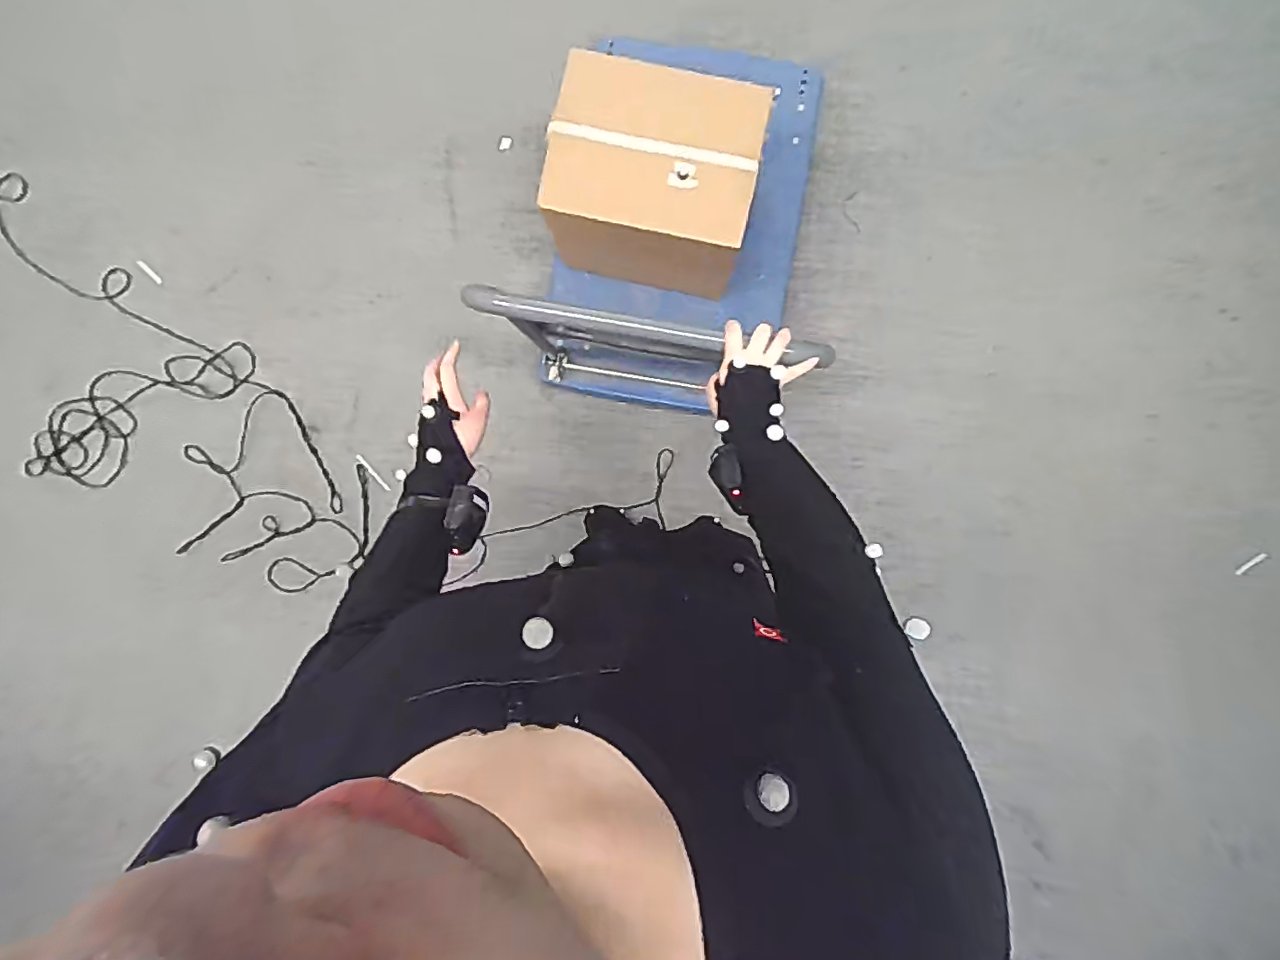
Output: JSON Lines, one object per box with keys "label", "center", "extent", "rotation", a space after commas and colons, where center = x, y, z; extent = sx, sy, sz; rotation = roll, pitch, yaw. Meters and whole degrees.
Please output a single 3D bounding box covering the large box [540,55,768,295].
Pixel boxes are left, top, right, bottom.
{"label": "large box", "center": [0.026, -0.644, 1.202], "extent": [0.408, 0.320, 0.320], "rotation": [12, 91, 1]}
